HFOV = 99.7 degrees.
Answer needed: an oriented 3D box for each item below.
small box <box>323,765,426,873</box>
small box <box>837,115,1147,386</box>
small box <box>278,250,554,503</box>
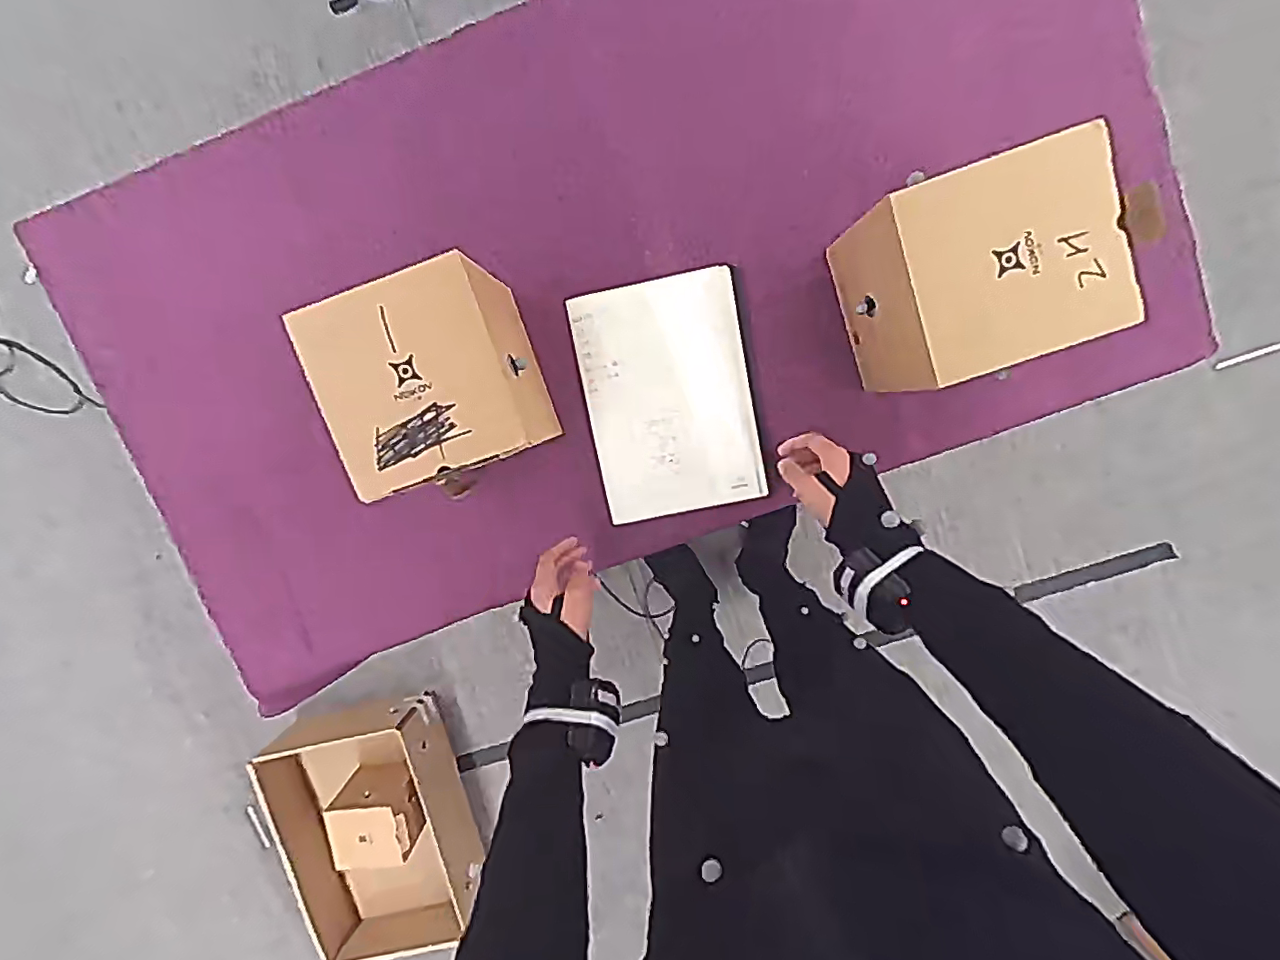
[{"bbox_3d":[-0.664,0.857,1.381,0.179,0.176,0.168,-6,99,2],"label":"small box"},{"bbox_3d":[0.305,-0.191,0.511,0.179,0.176,0.168,-18,98,4],"label":"small box"},{"bbox_3d":[-0.199,-0.096,0.538,0.168,0.176,0.179,-19,97,4],"label":"small box"}]
